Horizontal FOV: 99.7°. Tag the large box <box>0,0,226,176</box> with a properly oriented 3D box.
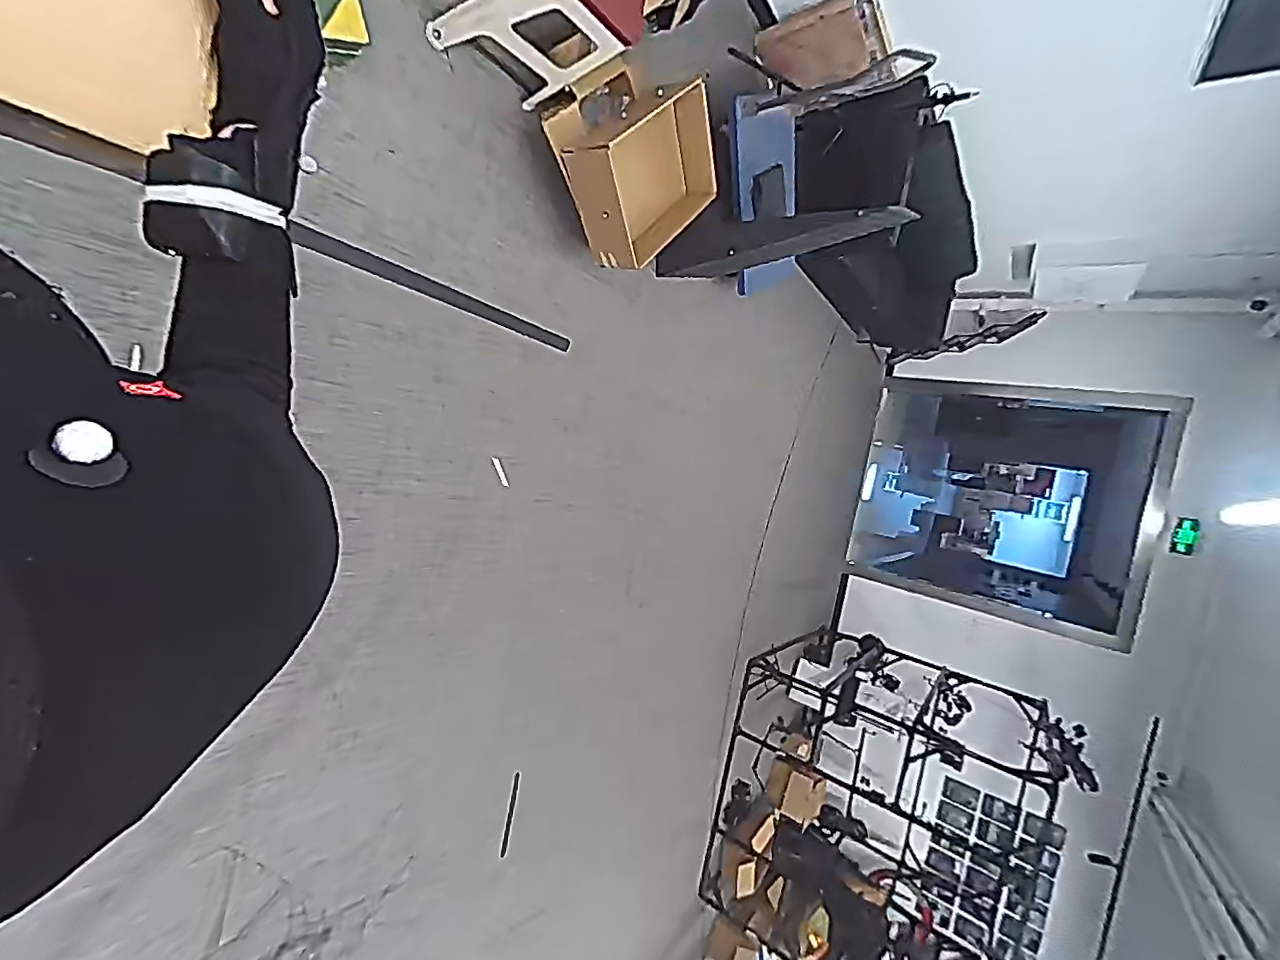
[{"bbox_3d":[-0.512,-0.413,0.285,0.408,0.320,0.320,-1,111,-58],"label":"large box"}]
